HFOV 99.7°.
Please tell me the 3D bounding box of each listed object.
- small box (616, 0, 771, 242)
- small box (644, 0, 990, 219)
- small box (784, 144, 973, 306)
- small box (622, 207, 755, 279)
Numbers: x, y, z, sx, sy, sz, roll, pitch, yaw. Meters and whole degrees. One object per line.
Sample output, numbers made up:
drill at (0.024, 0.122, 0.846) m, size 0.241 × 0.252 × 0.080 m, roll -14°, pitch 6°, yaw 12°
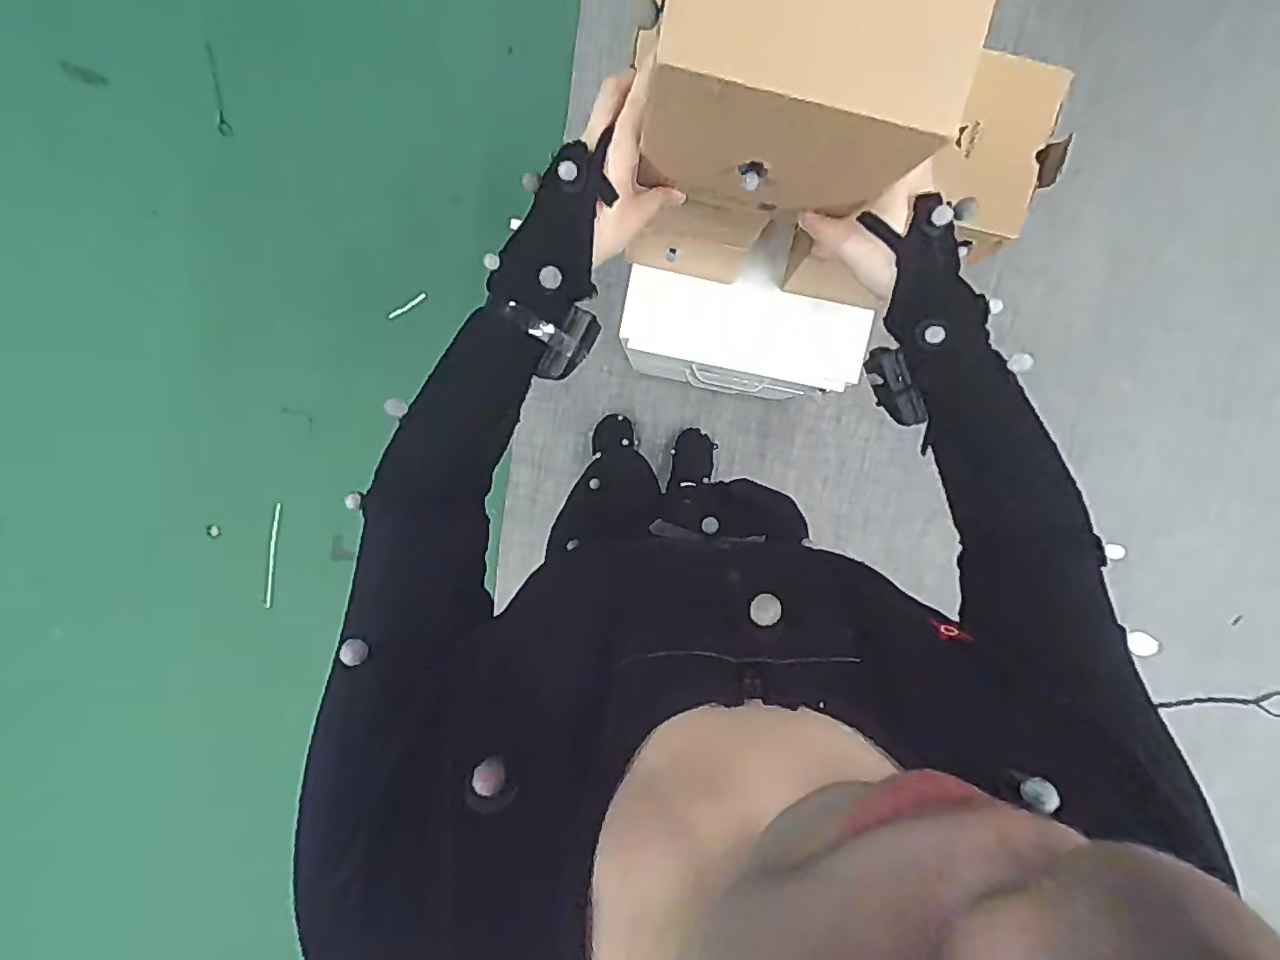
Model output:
small box at (0.077, -0.387, 0.605) m, size 0.179 × 0.176 × 0.168 m, roll 11°, pitch 96°, yaw -2°
small box at (0.099, -0.293, 0.346) m, size 0.168 × 0.176 × 0.179 m, roll 11°, pitch 98°, yaw -6°
small box at (0.322, -0.357, 0.768) m, size 0.179 × 0.176 × 0.168 m, roll 12°, pitch 96°, yaw 2°
small box at (0.080, -0.401, 0.769) m, size 0.179 × 0.176 × 0.168 m, roll 12°, pitch 97°, yaw 0°
